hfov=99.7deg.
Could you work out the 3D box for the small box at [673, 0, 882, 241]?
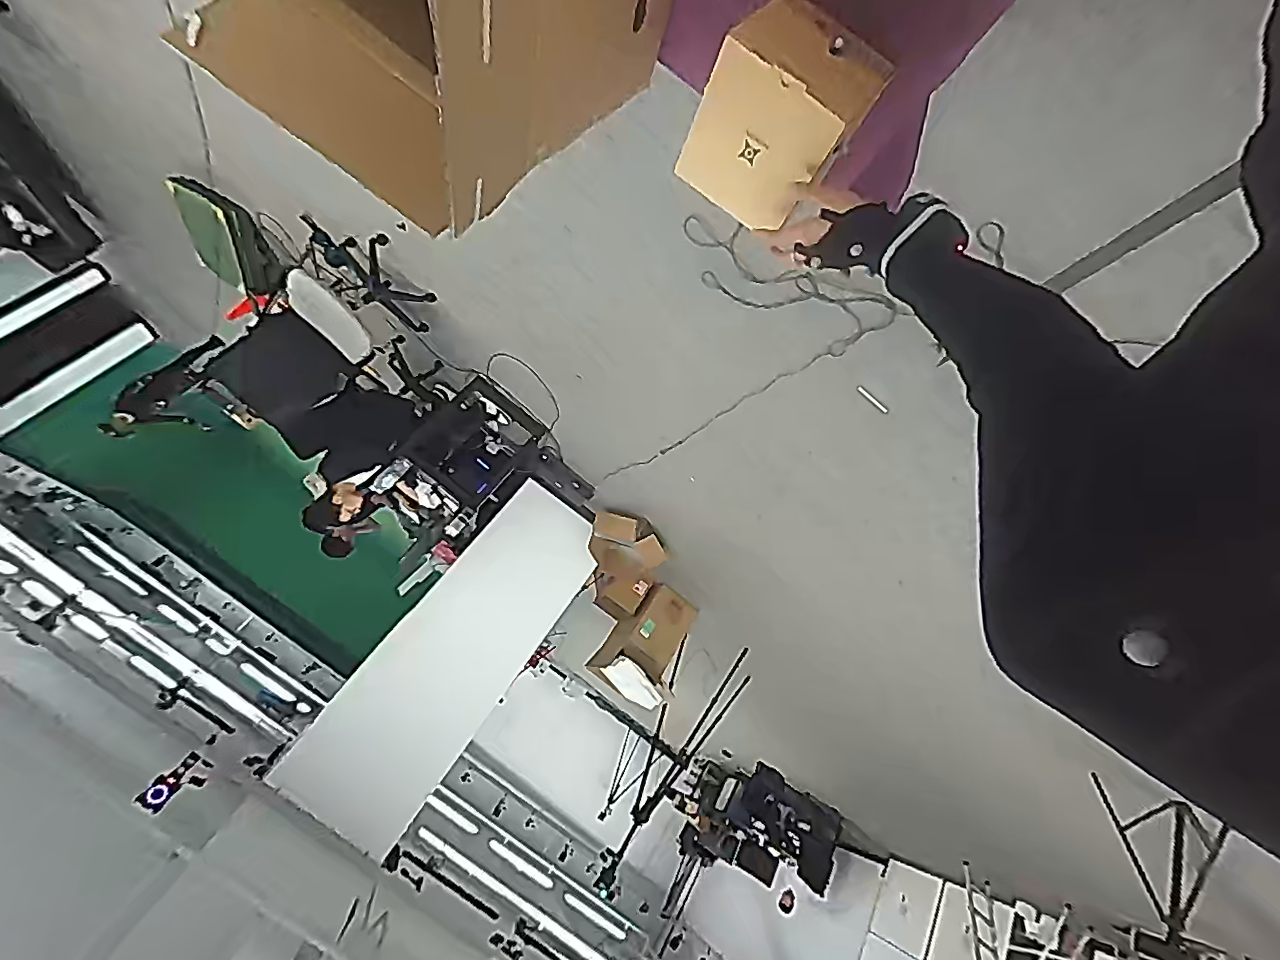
[{"bbox_3d":[0.175,-0.459,0.696,0.168,0.176,0.179,37,152,0],"label":"small box"}]
